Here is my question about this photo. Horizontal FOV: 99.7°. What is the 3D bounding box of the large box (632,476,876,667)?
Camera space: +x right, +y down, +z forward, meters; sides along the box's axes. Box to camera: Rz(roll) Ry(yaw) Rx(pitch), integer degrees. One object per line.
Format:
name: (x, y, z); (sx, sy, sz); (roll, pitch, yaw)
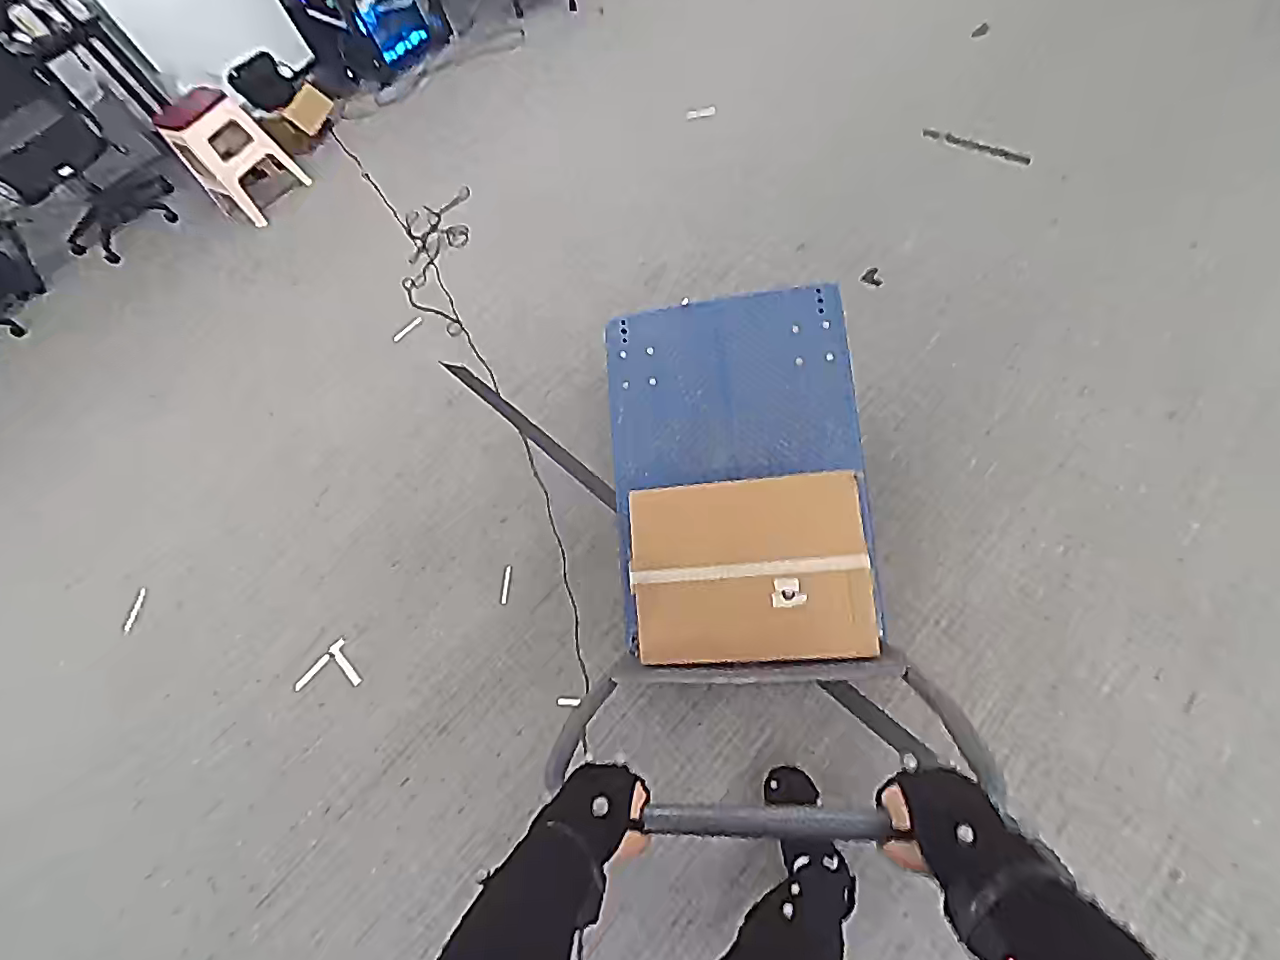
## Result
large box: (0.217, 0.185, 1.107); (0.408, 0.320, 0.320); (-6, 82, 10)
